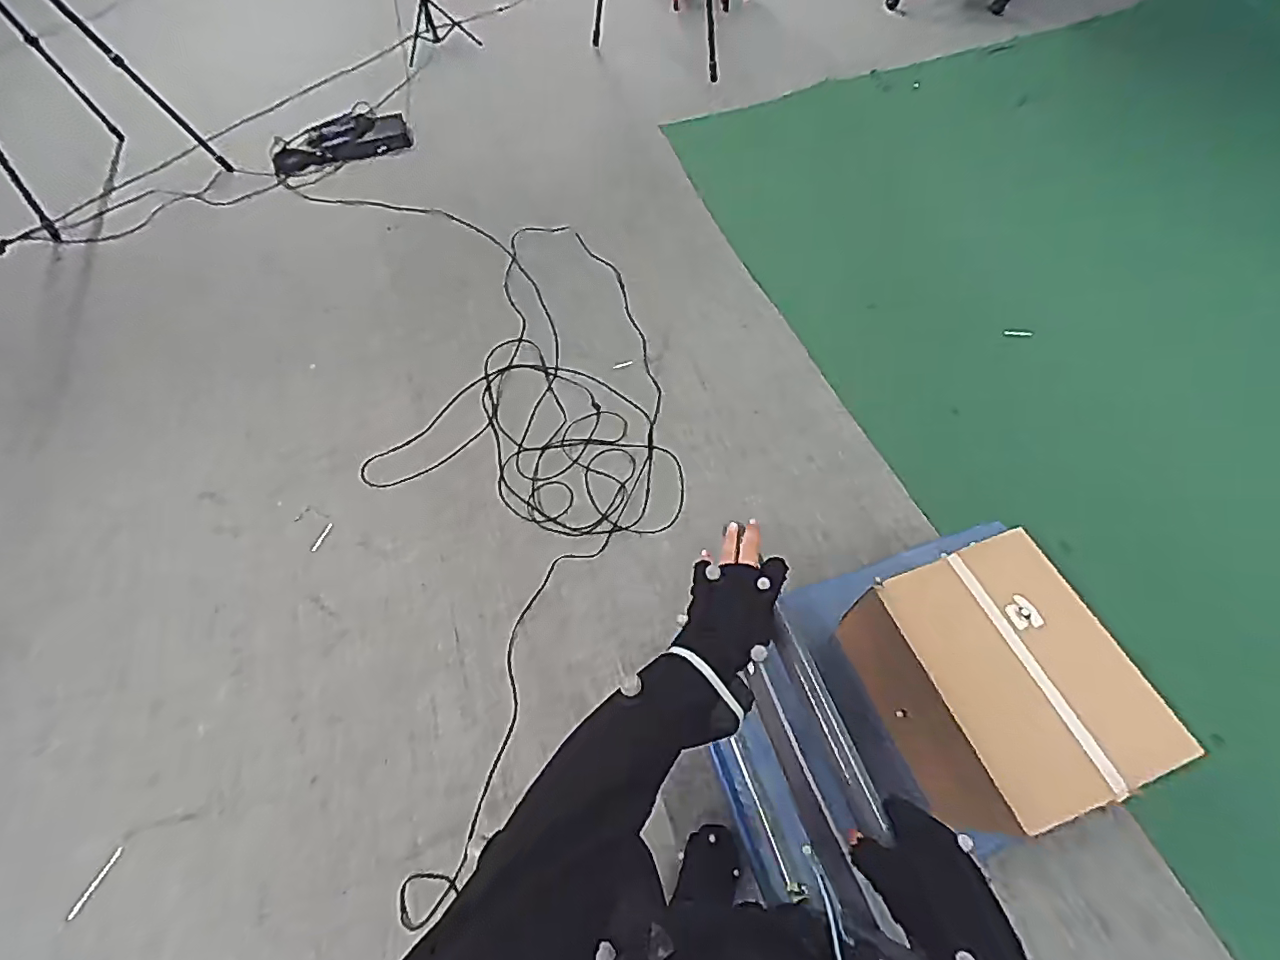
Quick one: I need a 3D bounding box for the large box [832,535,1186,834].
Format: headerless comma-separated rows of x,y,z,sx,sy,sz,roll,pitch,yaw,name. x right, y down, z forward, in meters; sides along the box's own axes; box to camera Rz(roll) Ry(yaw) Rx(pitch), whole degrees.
0.631,0.384,1.025,0.320,0.320,0.408,-19,59,-8,large box
